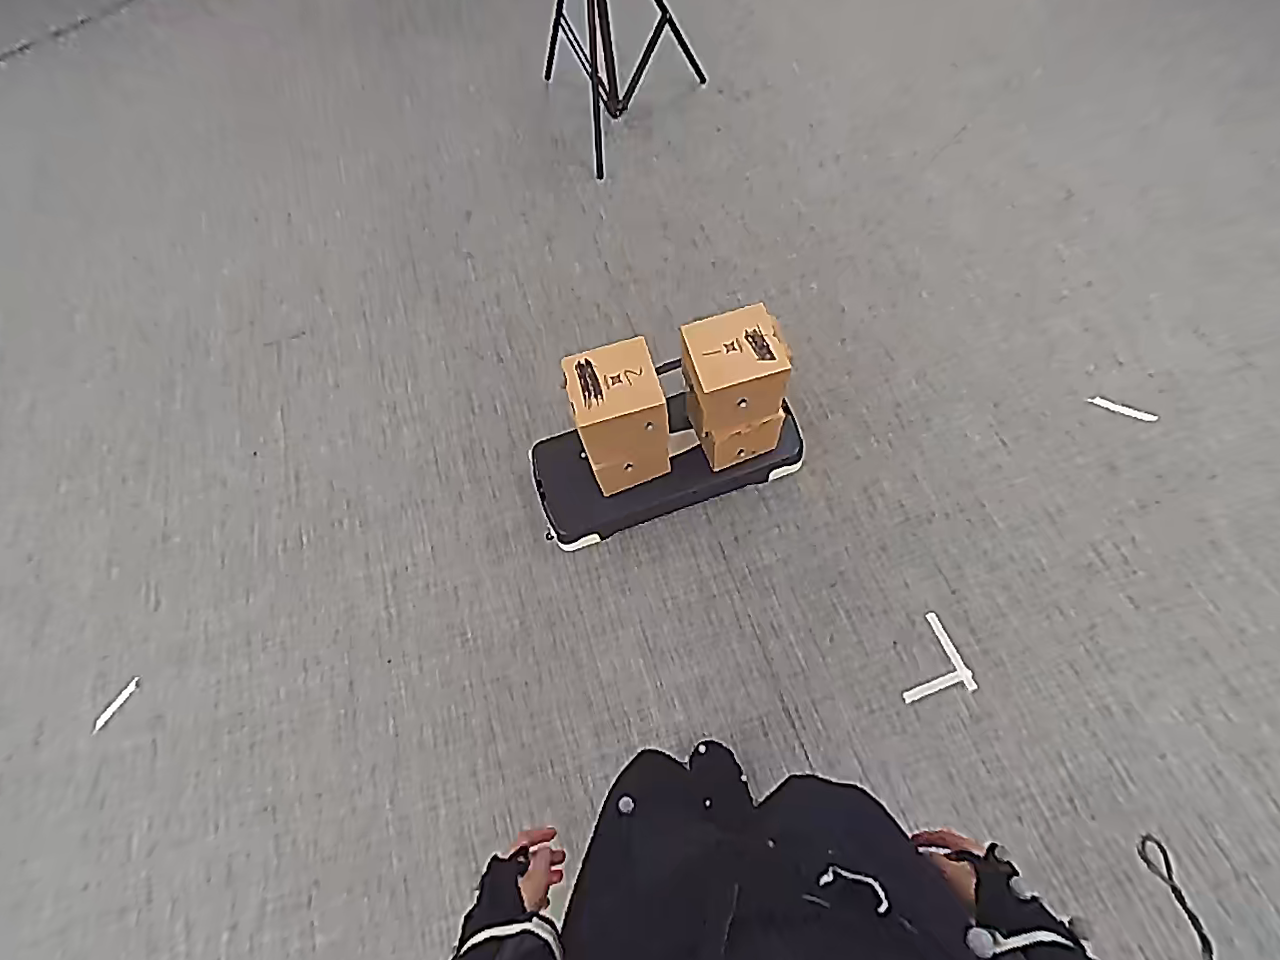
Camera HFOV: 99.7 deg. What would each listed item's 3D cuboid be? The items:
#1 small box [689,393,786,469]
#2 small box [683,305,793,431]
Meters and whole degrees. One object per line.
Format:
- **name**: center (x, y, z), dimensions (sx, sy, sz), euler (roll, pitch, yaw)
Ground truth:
- **small box**: center (0.217, -0.152, 1.268), dimensions (0.168, 0.176, 0.179), euler (-21, 68, -3)
- **small box**: center (0.194, -0.225, 1.121), dimensions (0.179, 0.176, 0.168), euler (-16, 68, 0)
